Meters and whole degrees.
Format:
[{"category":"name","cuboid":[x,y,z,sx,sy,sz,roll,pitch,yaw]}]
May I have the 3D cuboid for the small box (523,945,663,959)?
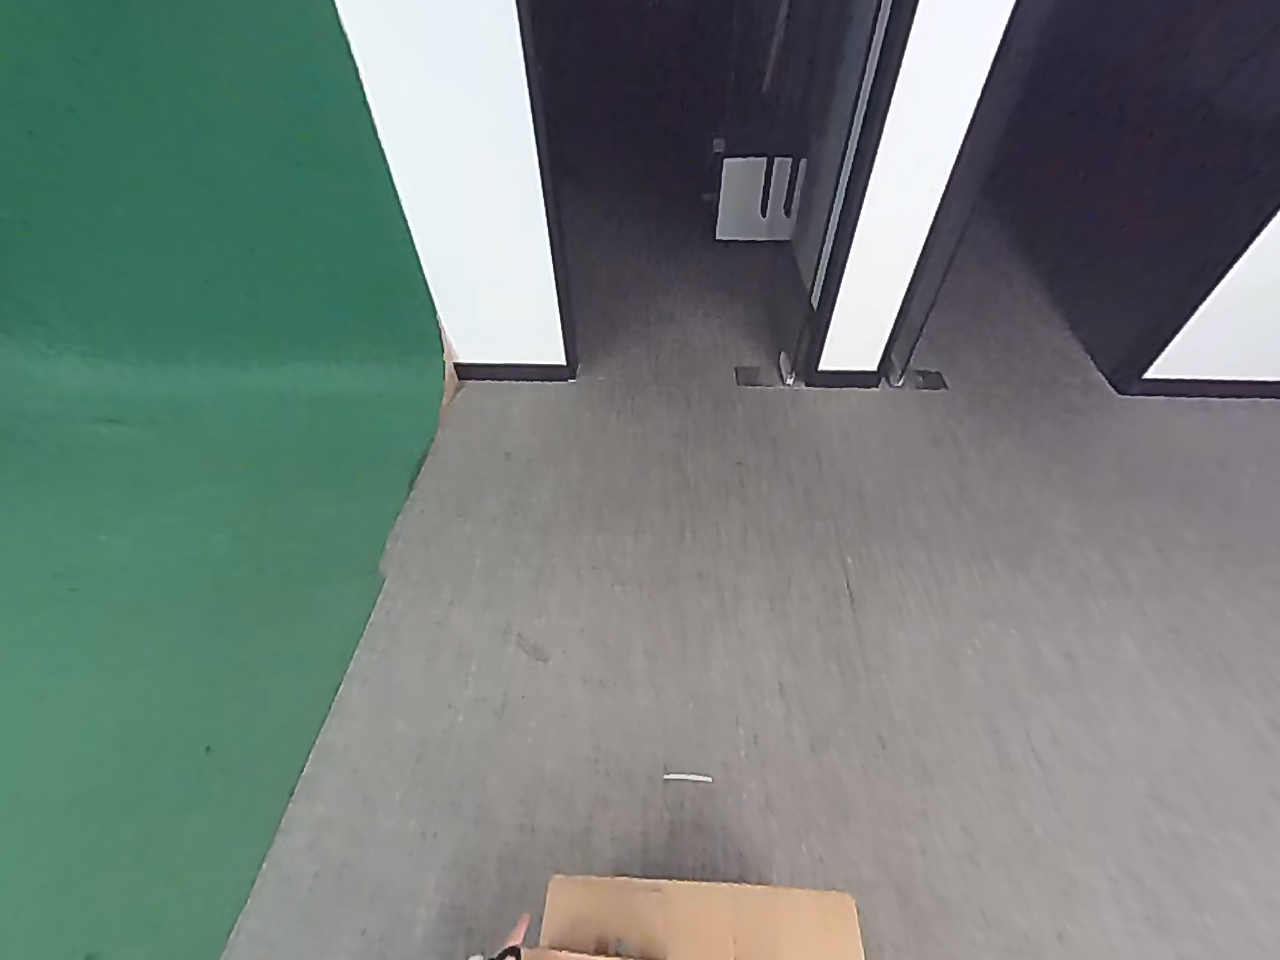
[{"category":"small box","cuboid":[-0.044,0.595,0.547,0.168,0.176,0.179,4,49,2]}]
